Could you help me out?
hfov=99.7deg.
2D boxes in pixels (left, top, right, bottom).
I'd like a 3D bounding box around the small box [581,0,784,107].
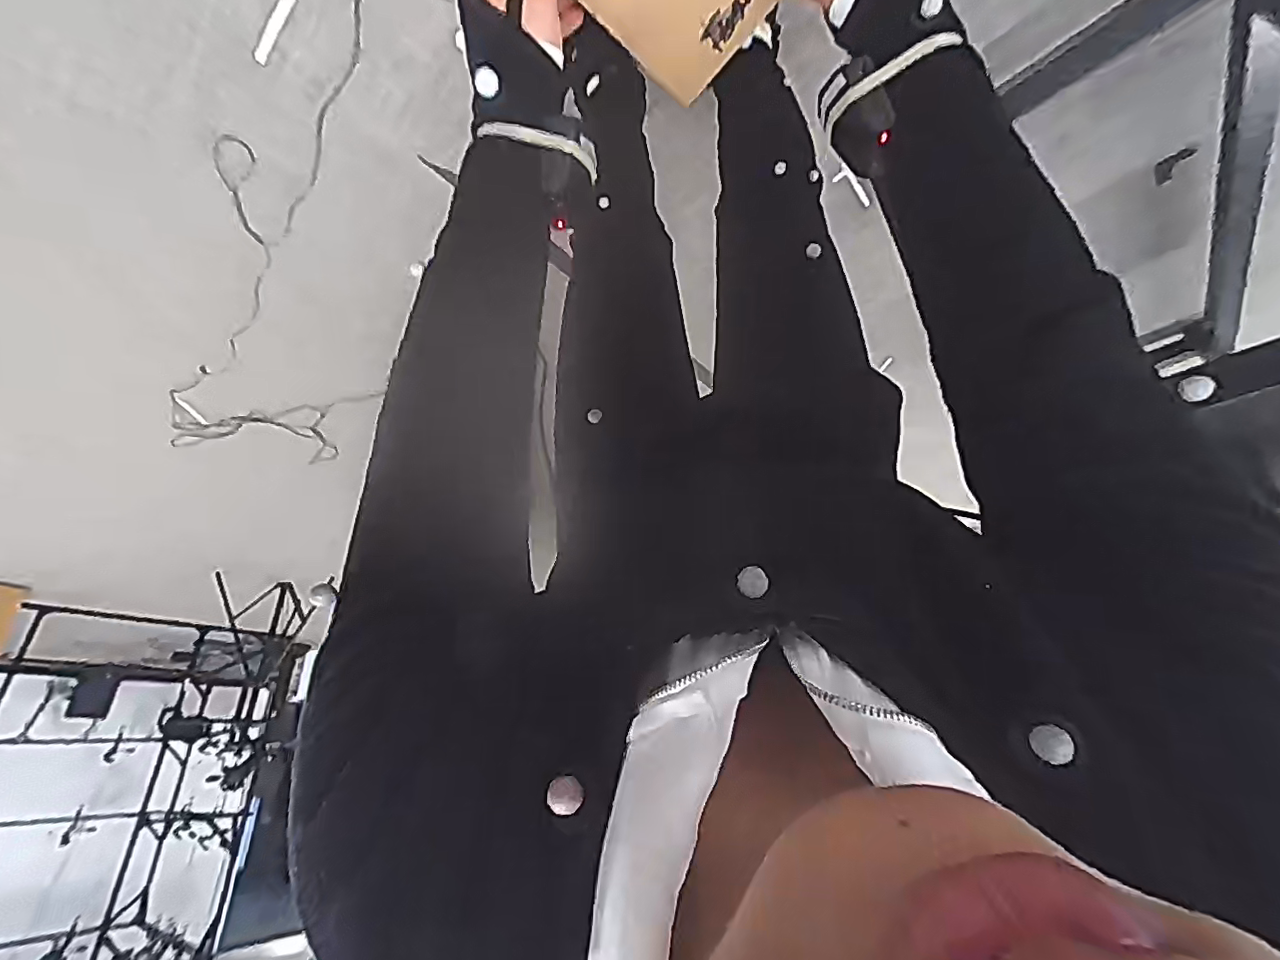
[{"bbox_3d":[0.028,-0.453,0.416,0.179,0.176,0.168,21,142,-37],"label":"small box"}]
